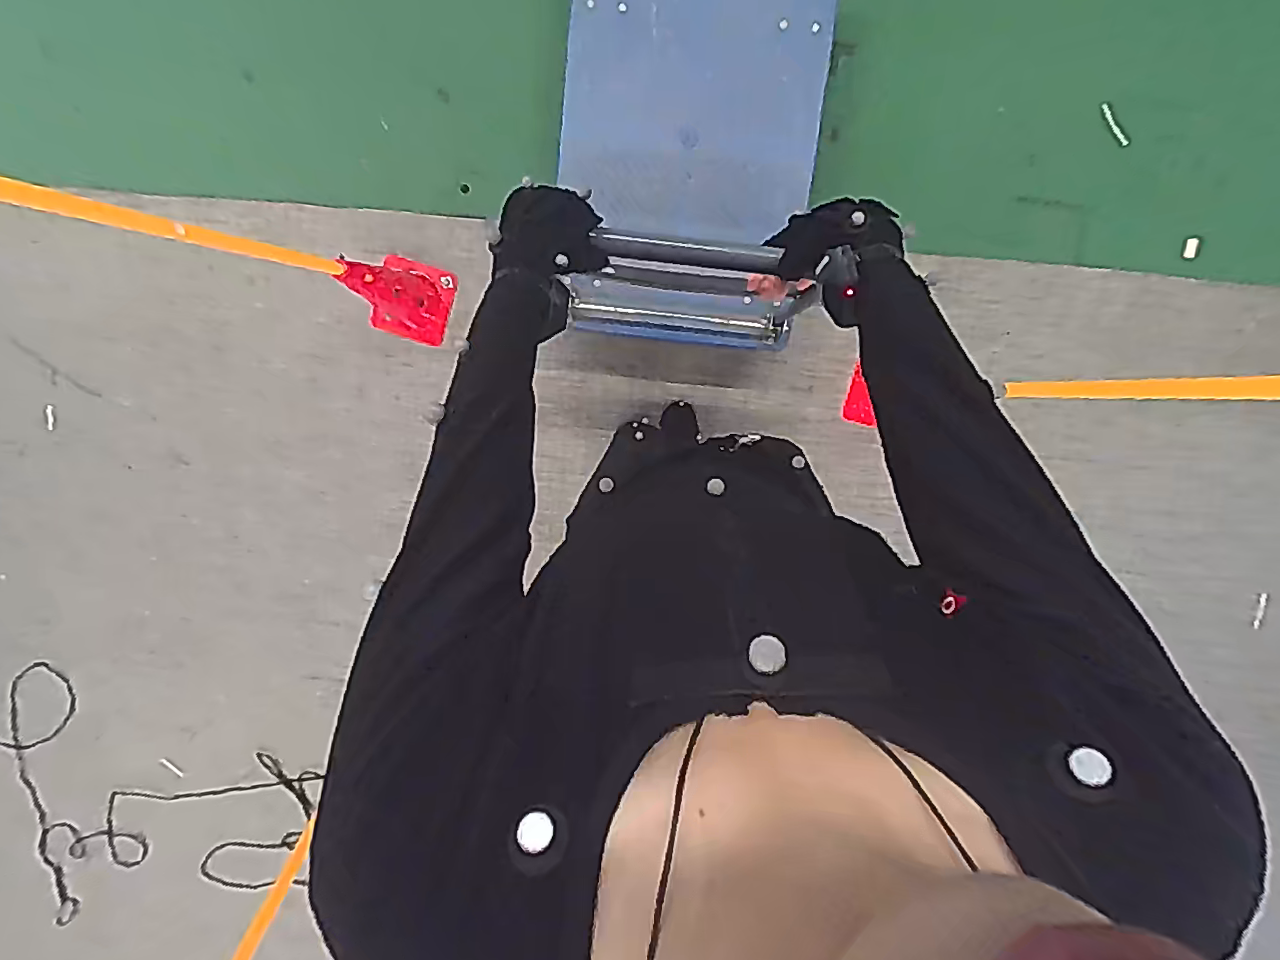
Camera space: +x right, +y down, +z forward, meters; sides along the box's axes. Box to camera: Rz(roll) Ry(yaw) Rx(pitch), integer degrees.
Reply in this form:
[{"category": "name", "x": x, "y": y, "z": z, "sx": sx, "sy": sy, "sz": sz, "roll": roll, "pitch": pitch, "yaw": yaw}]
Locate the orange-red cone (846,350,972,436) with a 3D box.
[{"category": "orange-red cone", "x": 0.665, "y": -0.208, "z": 1.275, "sx": 0.198, "sy": 0.360, "sz": 0.199, "roll": 15, "pitch": 99, "yaw": -1}]
